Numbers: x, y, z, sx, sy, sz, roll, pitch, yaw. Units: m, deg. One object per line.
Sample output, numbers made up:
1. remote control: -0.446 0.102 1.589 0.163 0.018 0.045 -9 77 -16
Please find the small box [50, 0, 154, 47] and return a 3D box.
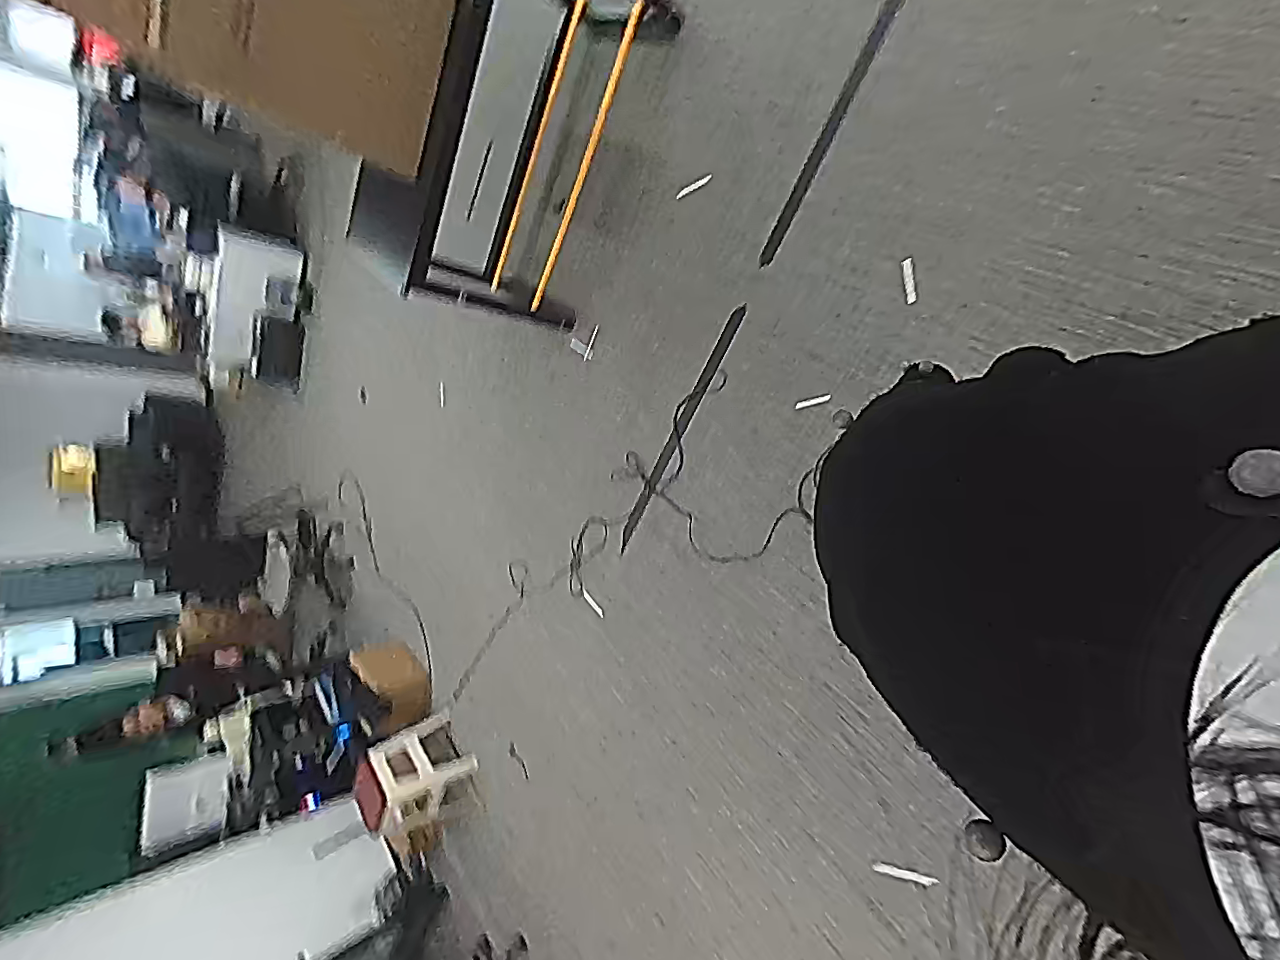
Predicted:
1. small box: -1.285 -1.177 1.292 0.179 0.176 0.168 41 115 34
